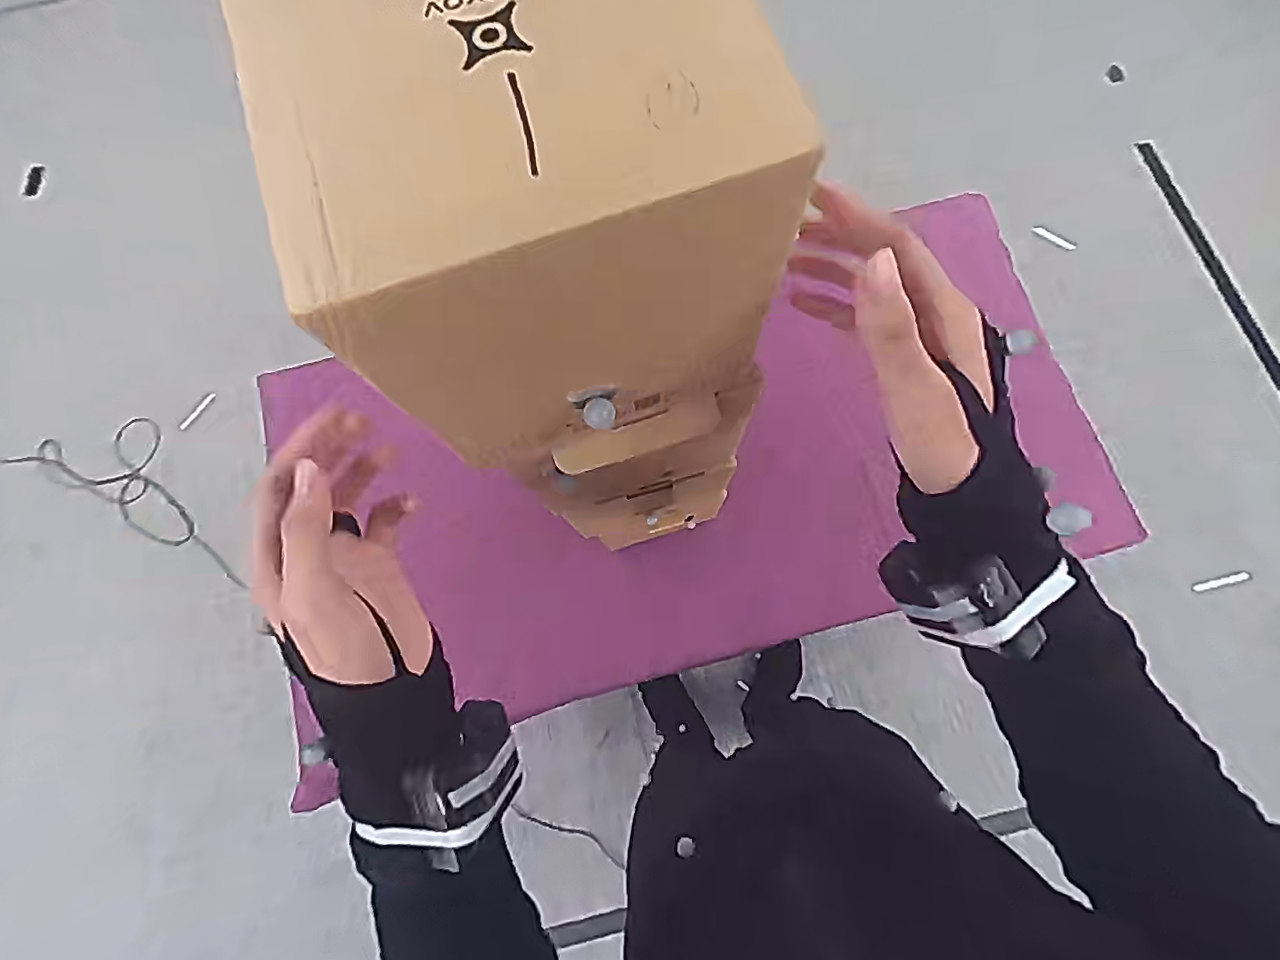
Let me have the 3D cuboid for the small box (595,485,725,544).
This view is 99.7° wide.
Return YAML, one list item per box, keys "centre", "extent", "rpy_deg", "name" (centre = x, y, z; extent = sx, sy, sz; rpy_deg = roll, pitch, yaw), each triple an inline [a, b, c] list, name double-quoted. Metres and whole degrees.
- centre: [0.003, -0.020, 0.726]
  extent: [0.168, 0.176, 0.179]
  rpy_deg: [-18, 76, -2]
  name: "small box"

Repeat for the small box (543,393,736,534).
- centre: [-0.013, -0.055, 0.566]
  extent: [0.168, 0.176, 0.179]
  rpy_deg: [-16, 77, -1]
  name: "small box"
